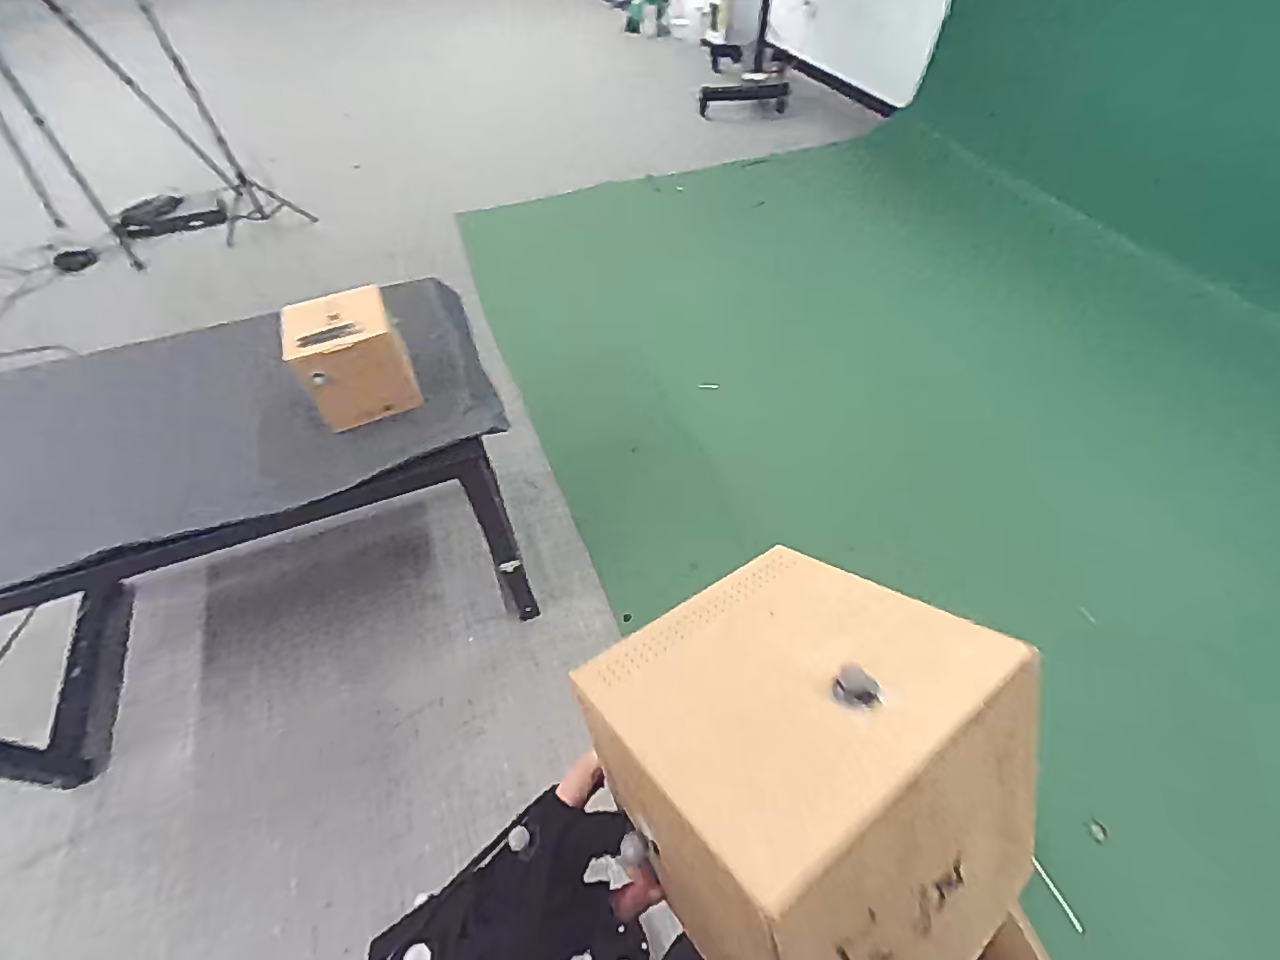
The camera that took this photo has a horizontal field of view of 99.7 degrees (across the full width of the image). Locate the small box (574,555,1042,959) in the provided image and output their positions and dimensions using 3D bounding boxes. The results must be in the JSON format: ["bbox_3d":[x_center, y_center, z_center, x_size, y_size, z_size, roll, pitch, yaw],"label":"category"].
[{"bbox_3d":[0.090,0.167,0.310,0.179,0.168,0.176,-27,25,-25],"label":"small box"}]
